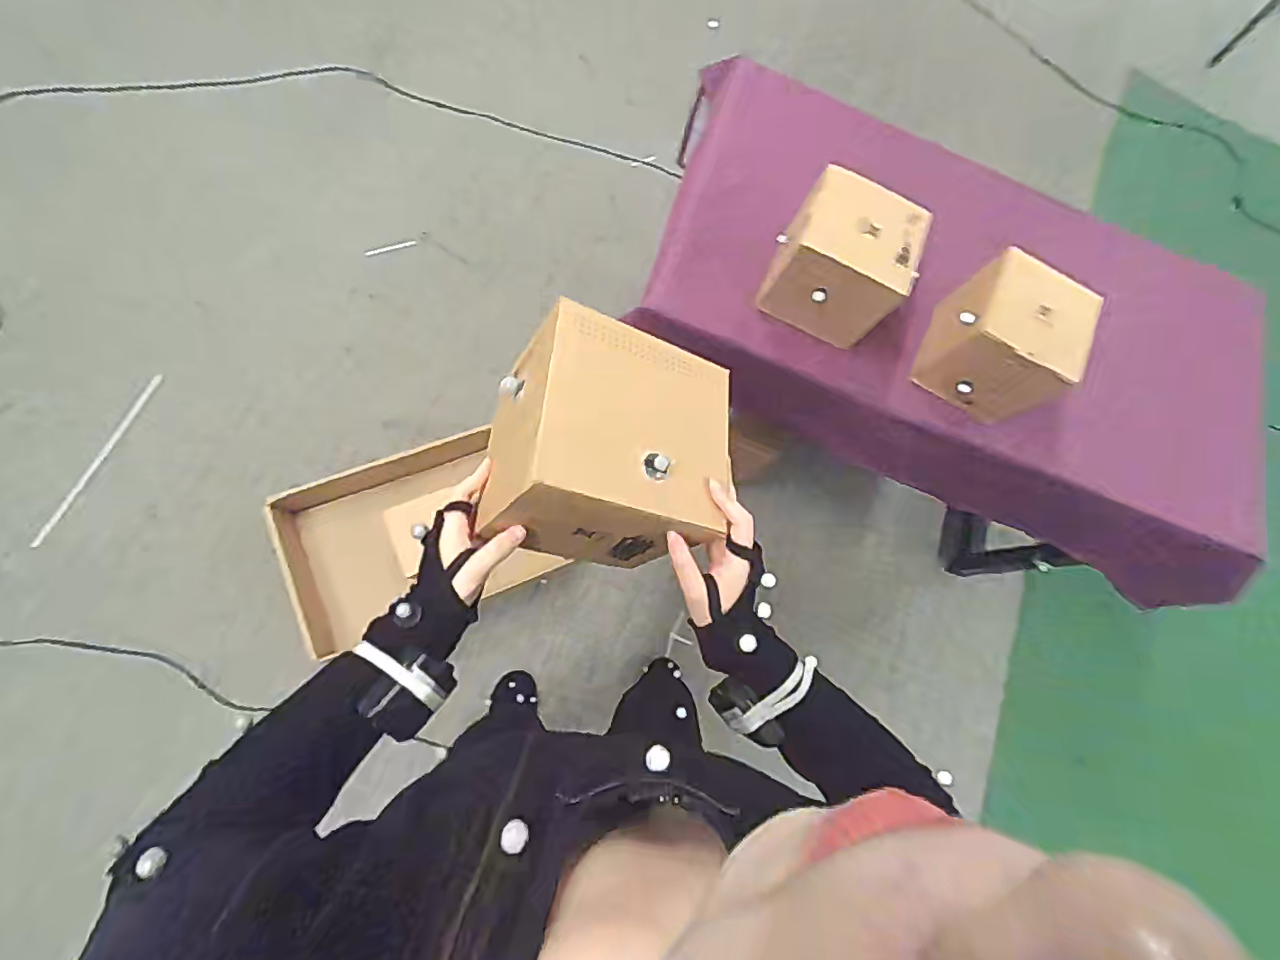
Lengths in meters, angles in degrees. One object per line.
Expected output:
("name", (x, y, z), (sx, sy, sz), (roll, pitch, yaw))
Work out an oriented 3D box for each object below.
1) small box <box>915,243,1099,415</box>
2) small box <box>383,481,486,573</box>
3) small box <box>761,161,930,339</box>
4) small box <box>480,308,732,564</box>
("small box", (0.590, -0.237, 0.887), (0.168, 0.176, 0.179), (29, 74, -2))
("small box", (-0.492, 0.121, 1.318), (0.179, 0.176, 0.168), (-21, 82, -13))
("small box", (0.318, -0.355, 0.866), (0.179, 0.176, 0.168), (24, 74, -3))
("small box", (-0.027, -0.030, 0.509), (0.179, 0.168, 0.176), (18, 64, -26))
